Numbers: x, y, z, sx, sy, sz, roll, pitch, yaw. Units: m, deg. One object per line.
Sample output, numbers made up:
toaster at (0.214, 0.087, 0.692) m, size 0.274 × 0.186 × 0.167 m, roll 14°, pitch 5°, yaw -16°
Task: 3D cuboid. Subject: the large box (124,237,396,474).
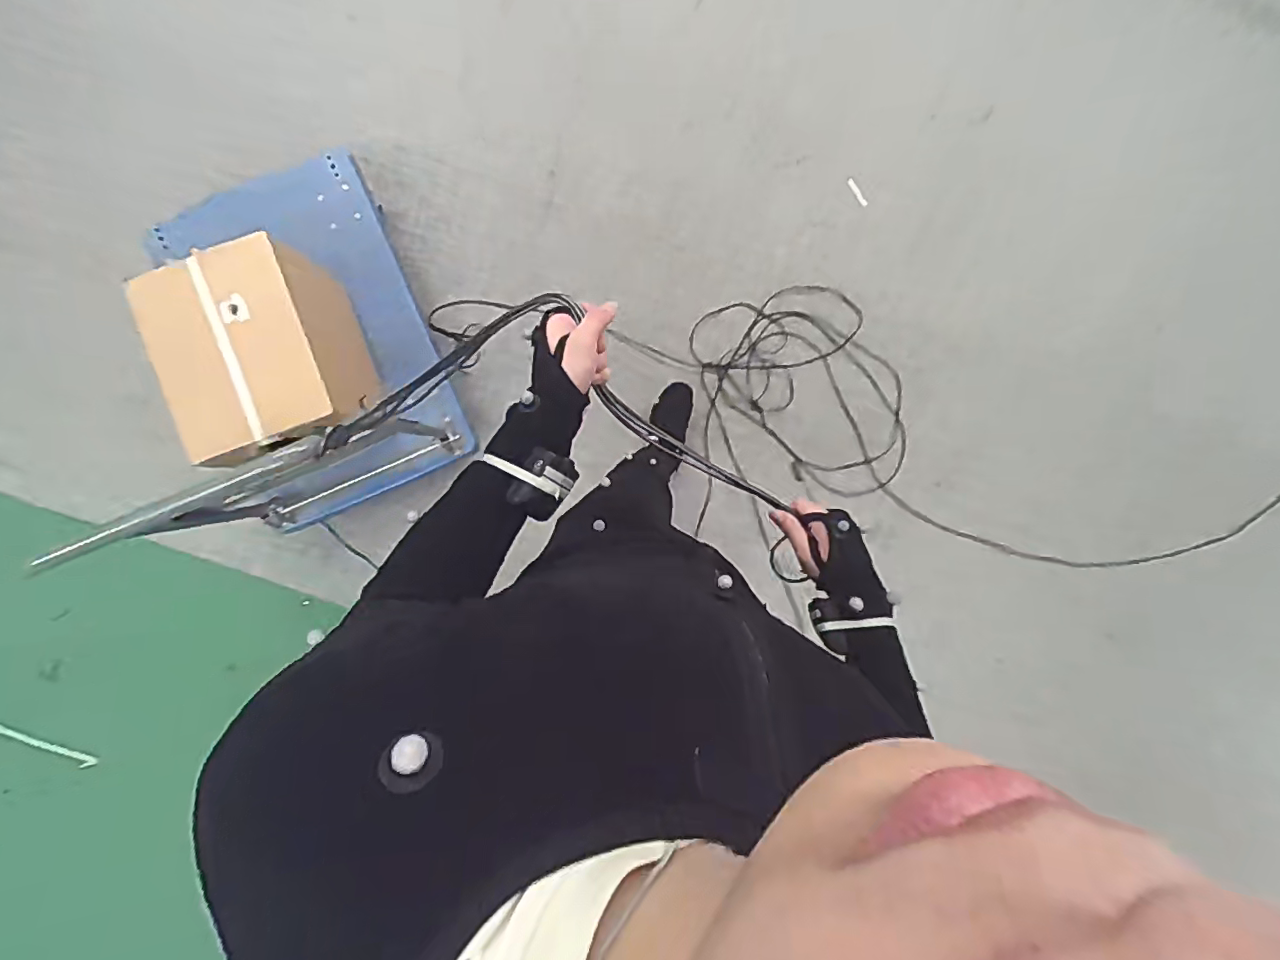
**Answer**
large box at (-0.832, -0.254, 1.240) m, size 0.320 × 0.320 × 0.408 m, roll -21°, pitch 90°, yaw -1°
